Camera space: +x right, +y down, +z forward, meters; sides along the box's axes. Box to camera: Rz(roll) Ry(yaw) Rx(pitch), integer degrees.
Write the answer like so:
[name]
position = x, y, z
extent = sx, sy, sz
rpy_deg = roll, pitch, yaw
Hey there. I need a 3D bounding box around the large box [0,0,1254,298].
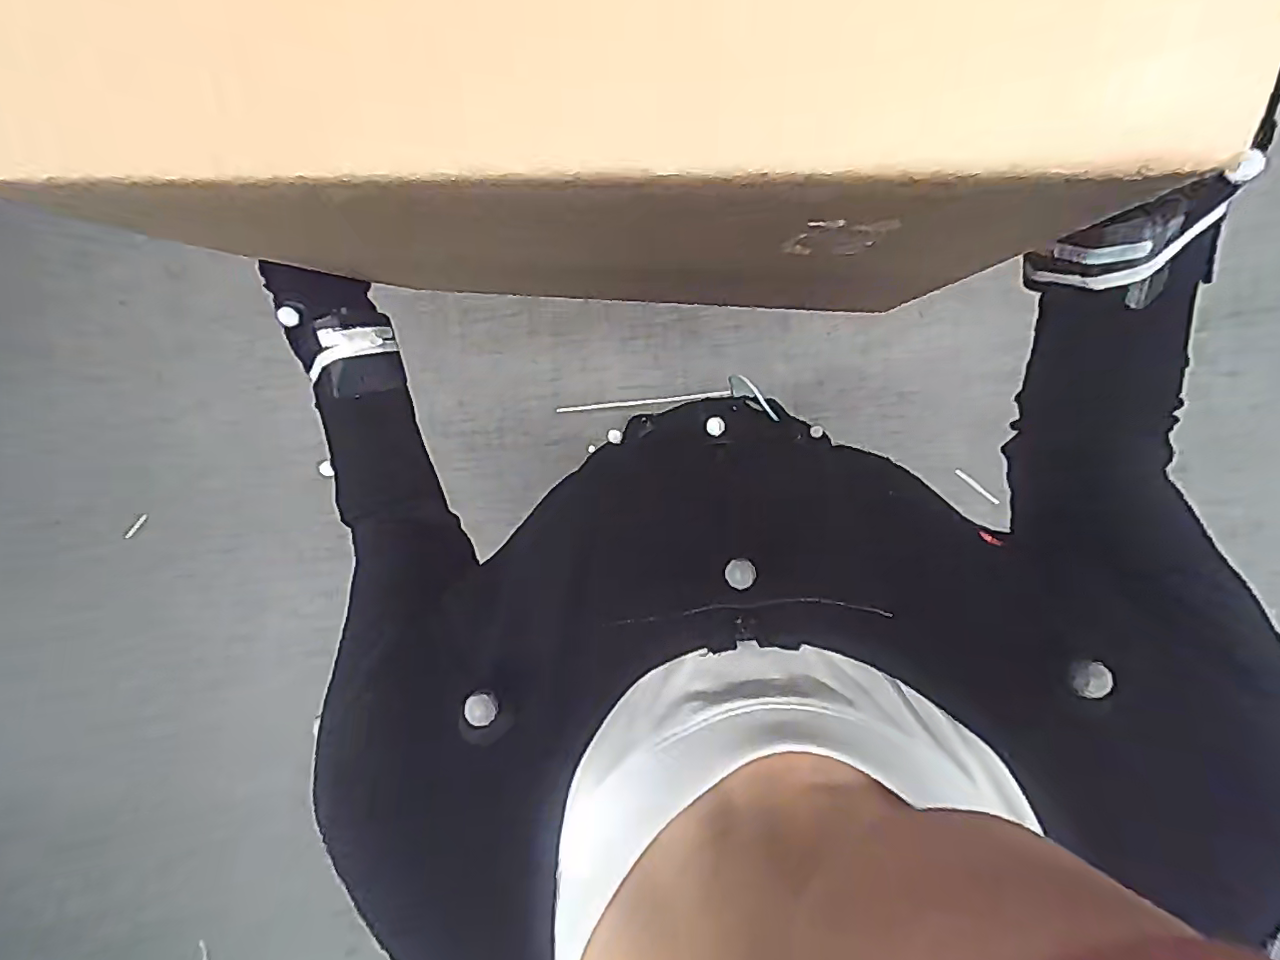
[large box]
position = -0.026, -0.276, 0.269
extent = 0.408, 0.320, 0.320
rpy_deg = 7, 103, 10
